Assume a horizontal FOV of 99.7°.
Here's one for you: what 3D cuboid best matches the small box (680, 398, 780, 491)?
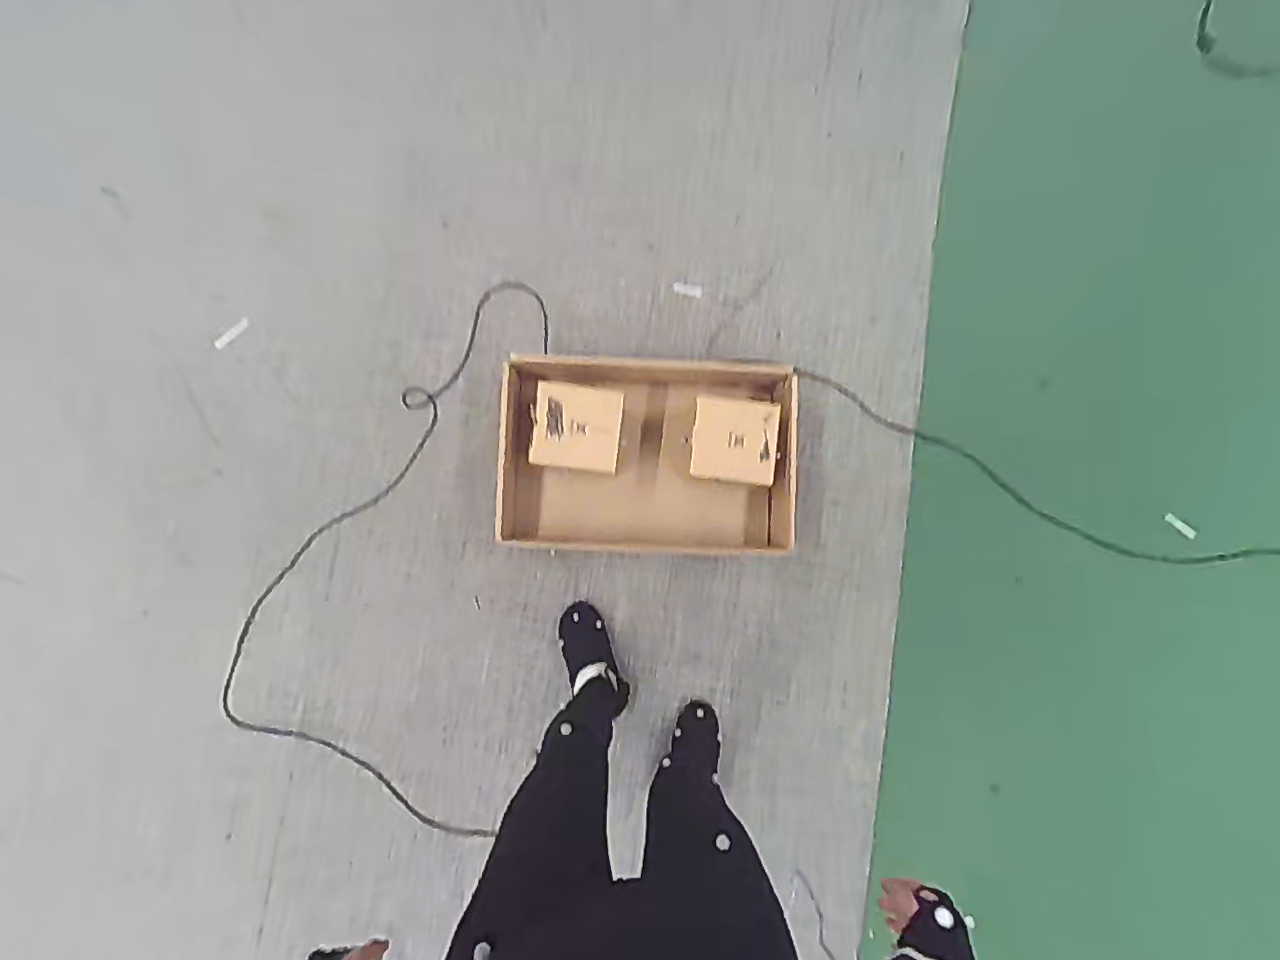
[{"bbox_3d":[0.187,-0.069,1.176,0.179,0.176,0.168,8,86,-2],"label":"small box"}]
